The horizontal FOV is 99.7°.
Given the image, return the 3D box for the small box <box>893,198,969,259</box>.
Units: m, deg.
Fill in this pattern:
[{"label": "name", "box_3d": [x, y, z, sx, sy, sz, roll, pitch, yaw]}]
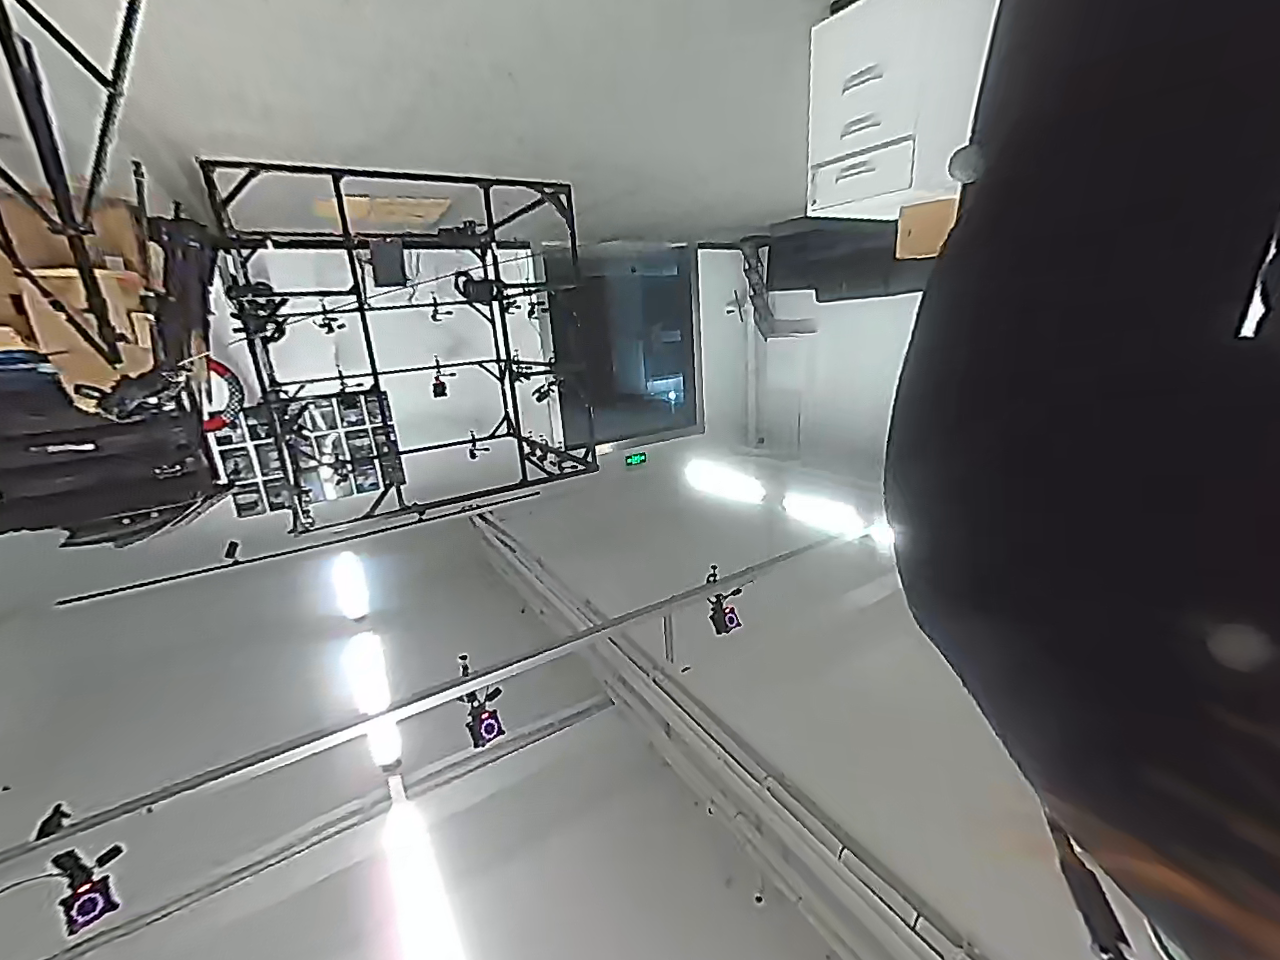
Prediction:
[{"label": "small box", "box_3d": [1.014, -0.871, 1.886, 0.168, 0.176, 0.179, -16, -159, -32]}]
